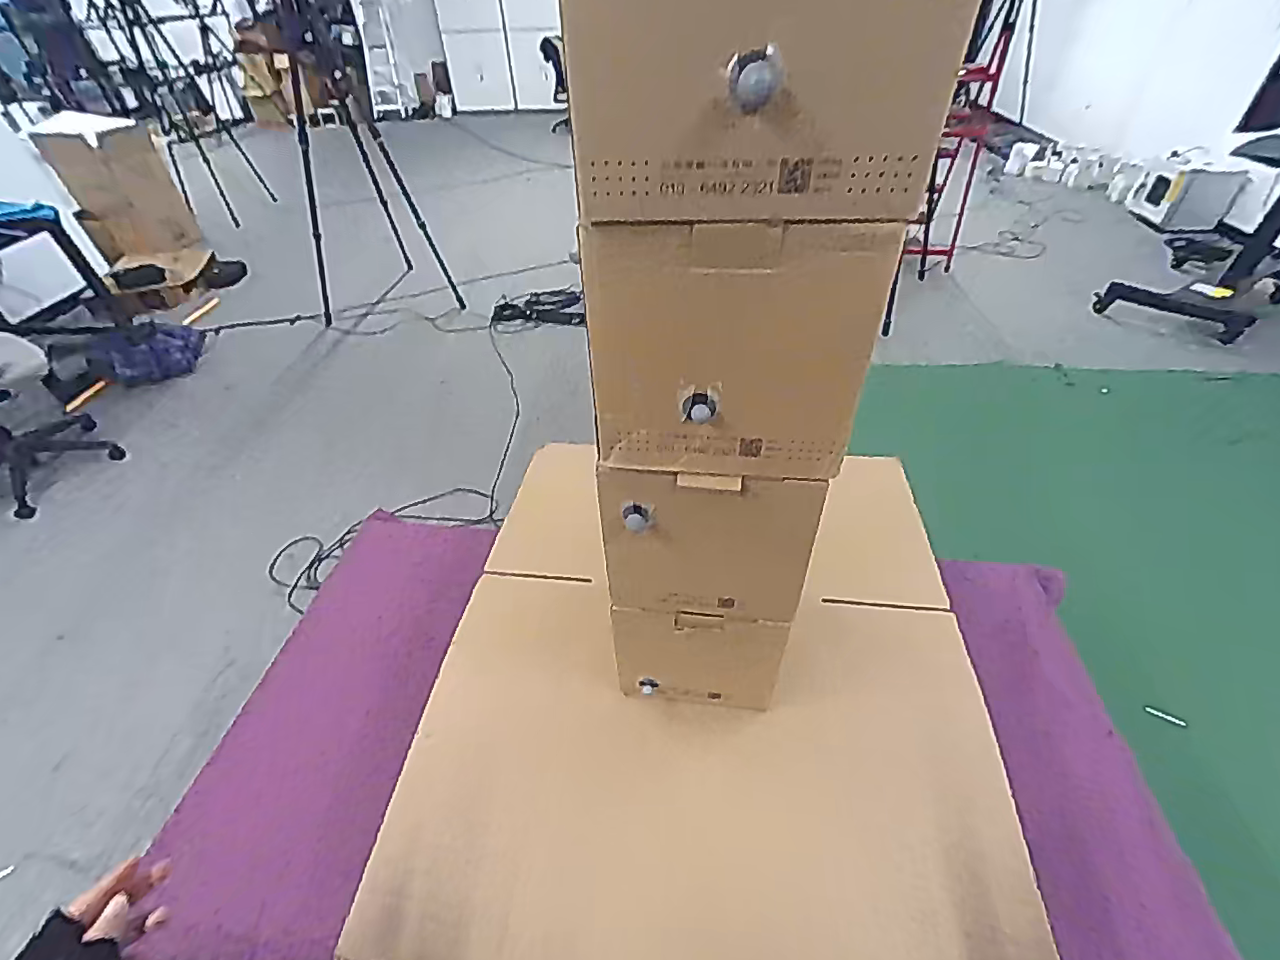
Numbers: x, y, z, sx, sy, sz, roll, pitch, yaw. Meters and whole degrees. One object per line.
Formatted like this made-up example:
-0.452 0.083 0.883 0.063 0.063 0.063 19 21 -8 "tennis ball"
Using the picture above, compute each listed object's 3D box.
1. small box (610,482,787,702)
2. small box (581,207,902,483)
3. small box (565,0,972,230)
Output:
0.068 0.125 0.604 0.168 0.176 0.179 4 42 7 "small box"
0.060 -0.120 0.388 0.168 0.176 0.179 3 42 6 "small box"
0.055 -0.242 0.276 0.168 0.176 0.179 2 42 5 "small box"
